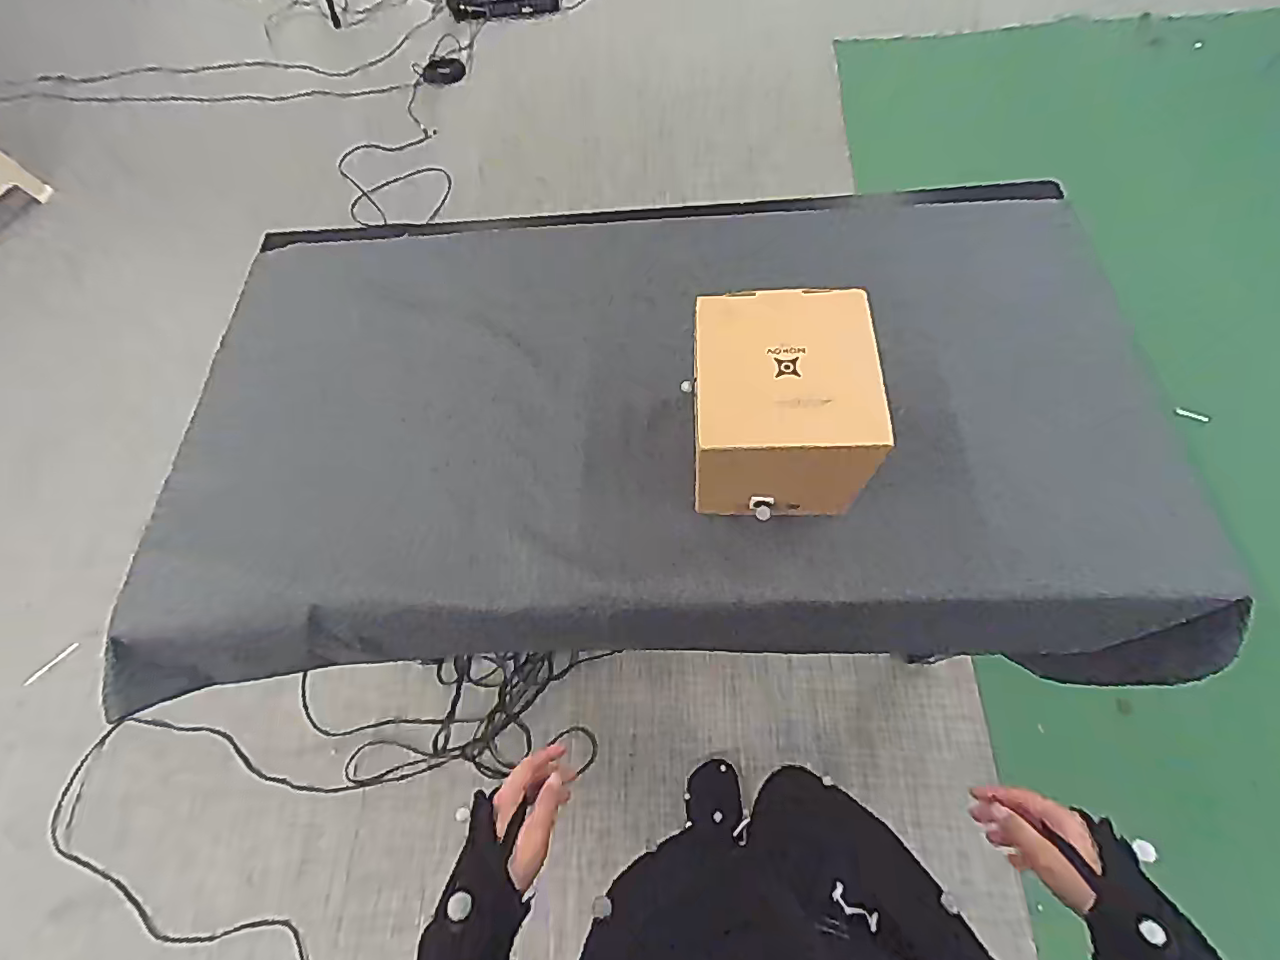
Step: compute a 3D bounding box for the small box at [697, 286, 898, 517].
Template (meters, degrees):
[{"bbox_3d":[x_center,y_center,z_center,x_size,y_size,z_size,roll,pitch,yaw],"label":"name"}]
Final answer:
[{"bbox_3d":[0.143,-0.072,0.561,0.168,0.176,0.179,-1,66,6],"label":"small box"}]
